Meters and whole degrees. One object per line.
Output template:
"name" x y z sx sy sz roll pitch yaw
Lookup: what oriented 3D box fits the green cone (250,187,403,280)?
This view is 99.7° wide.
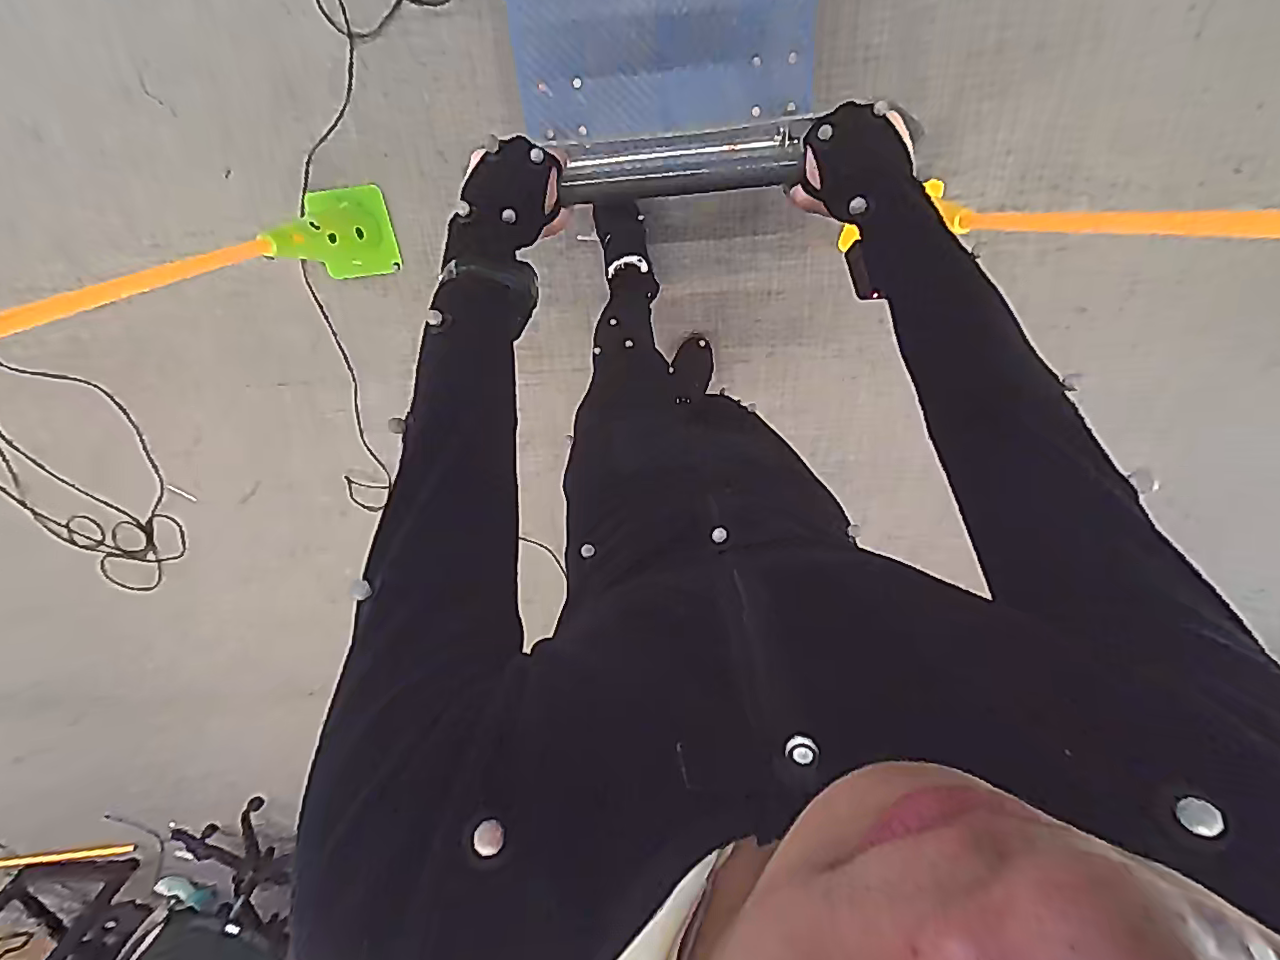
"green cone" -0.721 -0.535 1.202 0.202 0.368 0.200 -5 117 6
